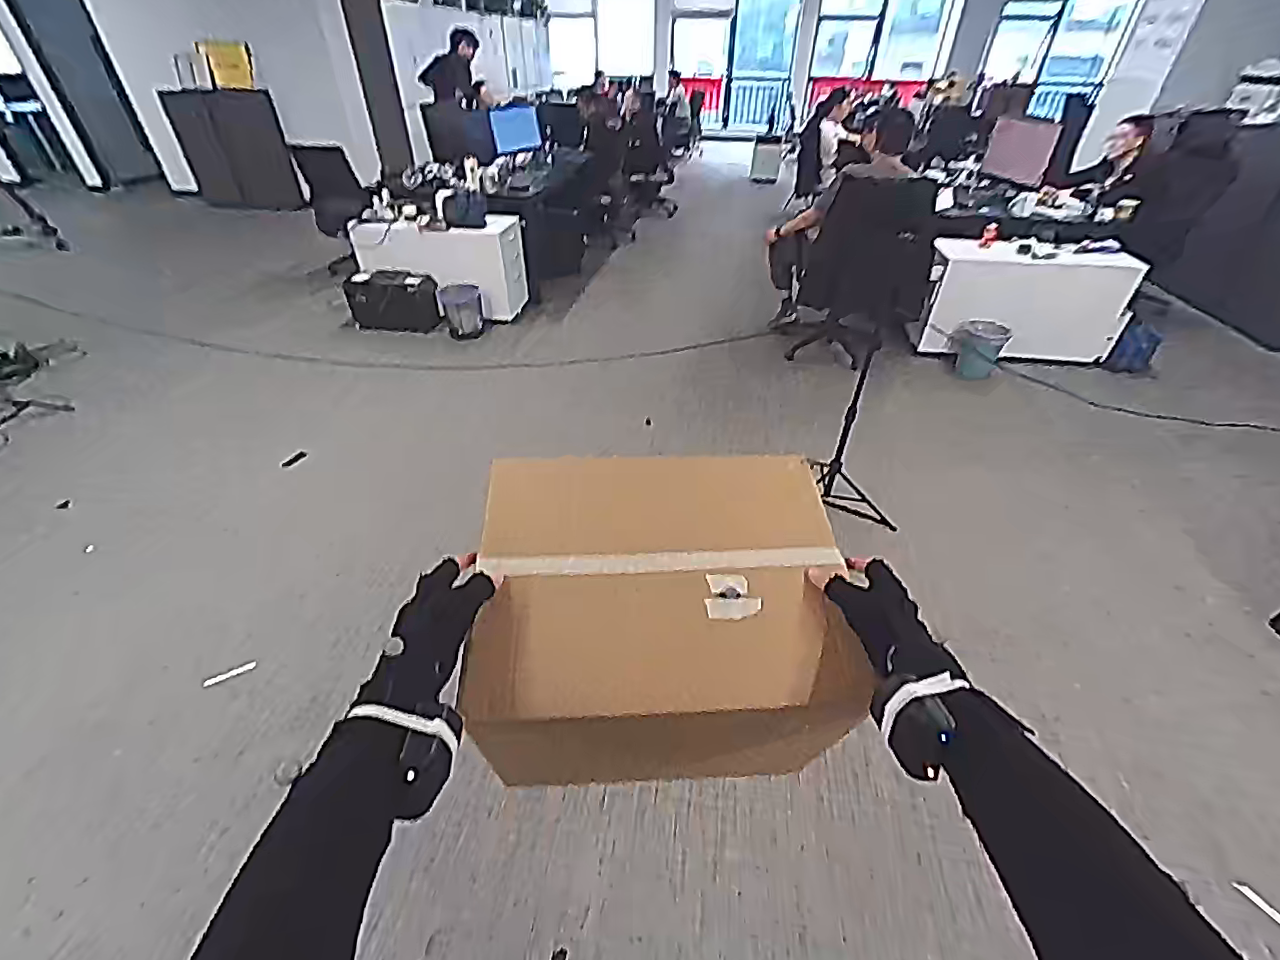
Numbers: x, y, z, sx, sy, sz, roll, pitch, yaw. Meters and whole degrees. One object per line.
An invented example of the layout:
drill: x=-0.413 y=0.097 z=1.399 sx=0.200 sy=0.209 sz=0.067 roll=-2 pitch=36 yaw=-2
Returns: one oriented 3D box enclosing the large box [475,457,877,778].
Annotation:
large box: x=0.021 y=0.186 z=0.727 sx=0.408 sy=0.320 sz=0.320 roll=-1 pitch=52 yaw=-5
